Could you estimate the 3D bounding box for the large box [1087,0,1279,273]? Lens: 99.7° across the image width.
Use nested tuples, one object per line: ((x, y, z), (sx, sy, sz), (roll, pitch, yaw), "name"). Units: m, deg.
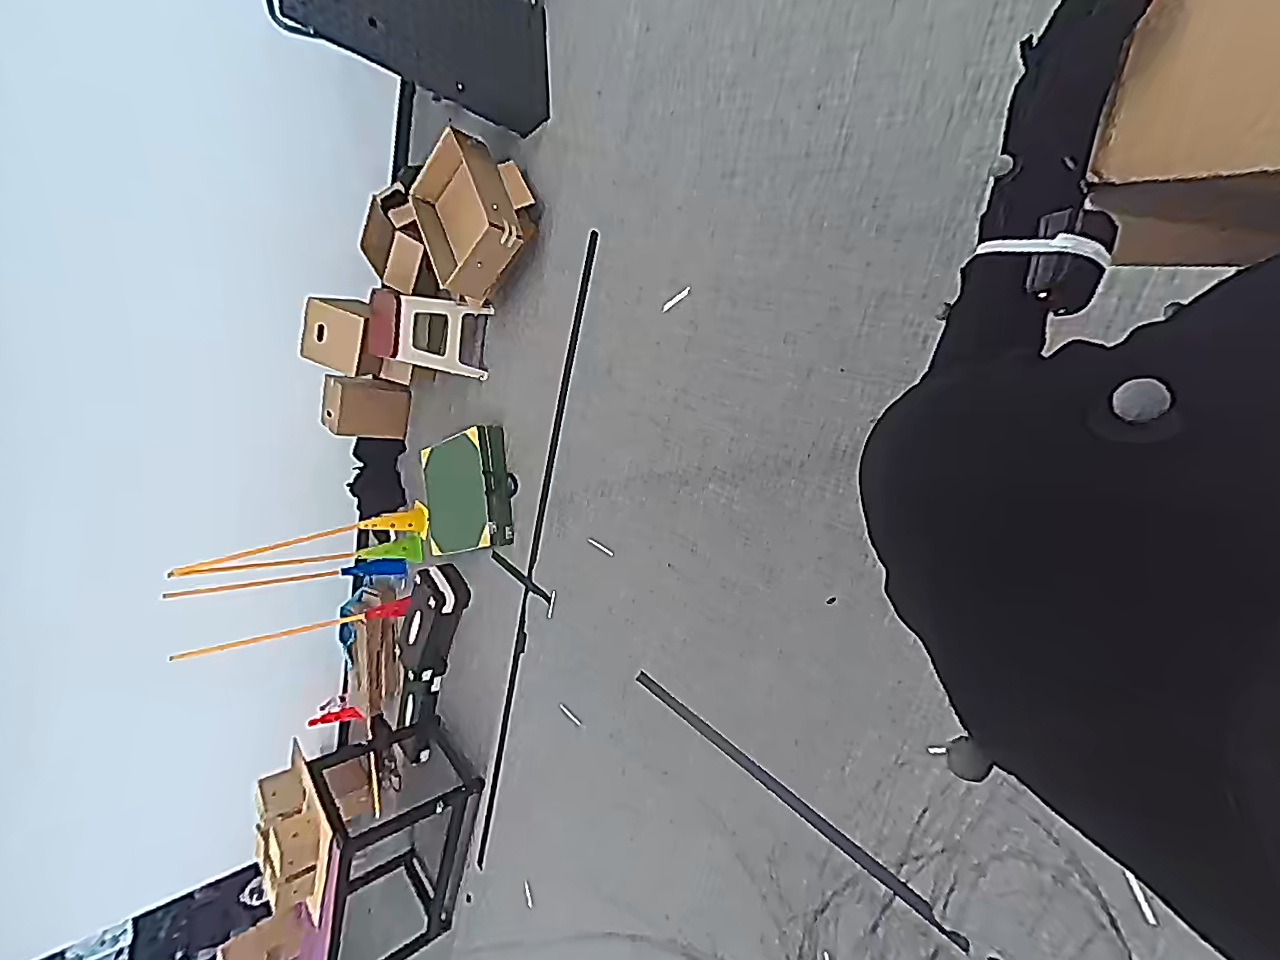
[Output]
((0.604, -0.335, 0.366), (0.408, 0.320, 0.320), (19, 108, 40), "large box")
